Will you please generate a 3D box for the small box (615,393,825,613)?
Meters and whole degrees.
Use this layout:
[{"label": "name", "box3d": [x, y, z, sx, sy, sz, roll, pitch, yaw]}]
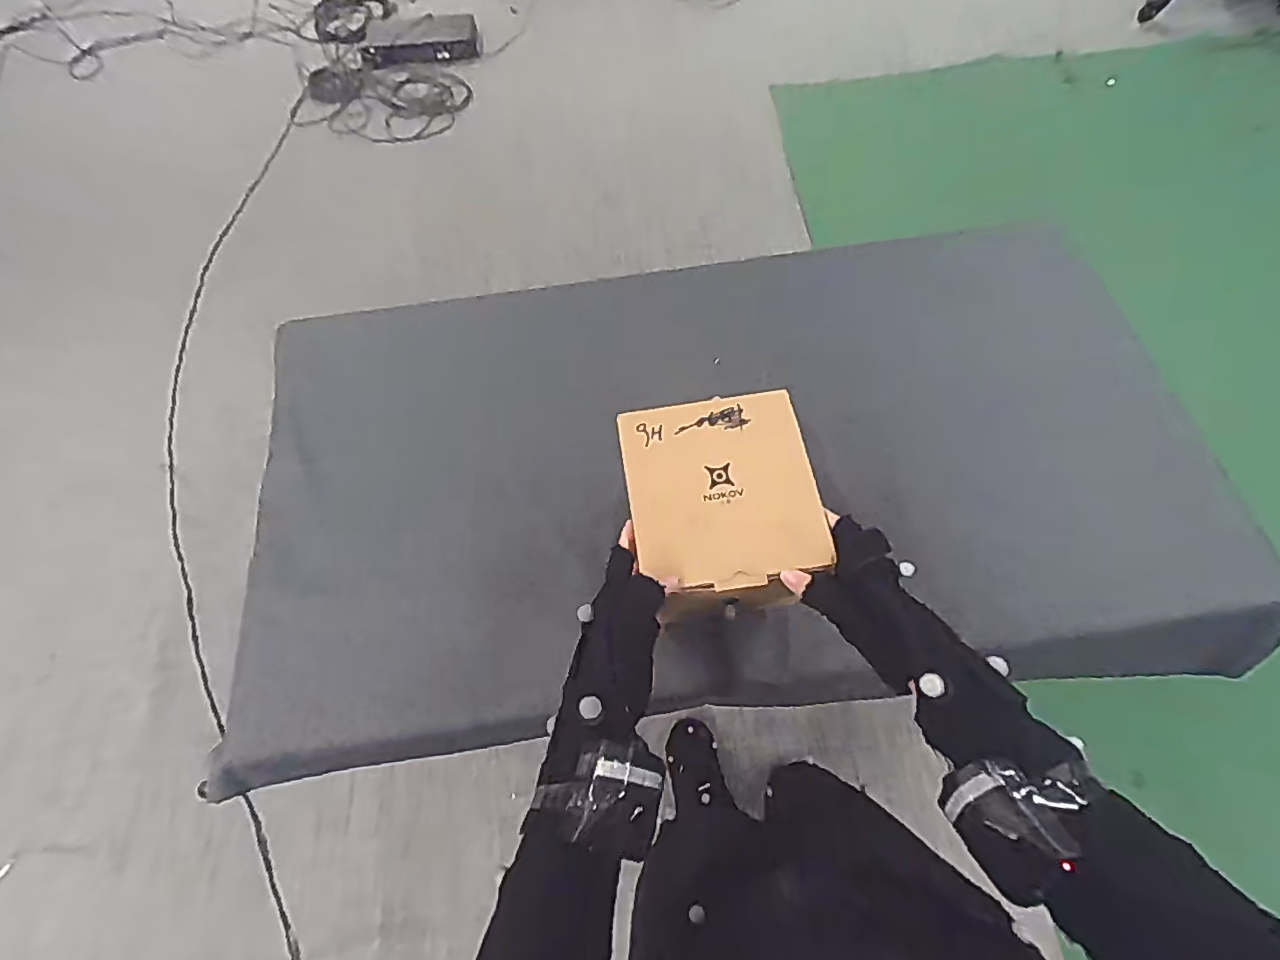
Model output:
[{"label": "small box", "box3d": [0.071, 0.036, 0.558, 0.168, 0.176, 0.179, -8, 68, -1]}]
